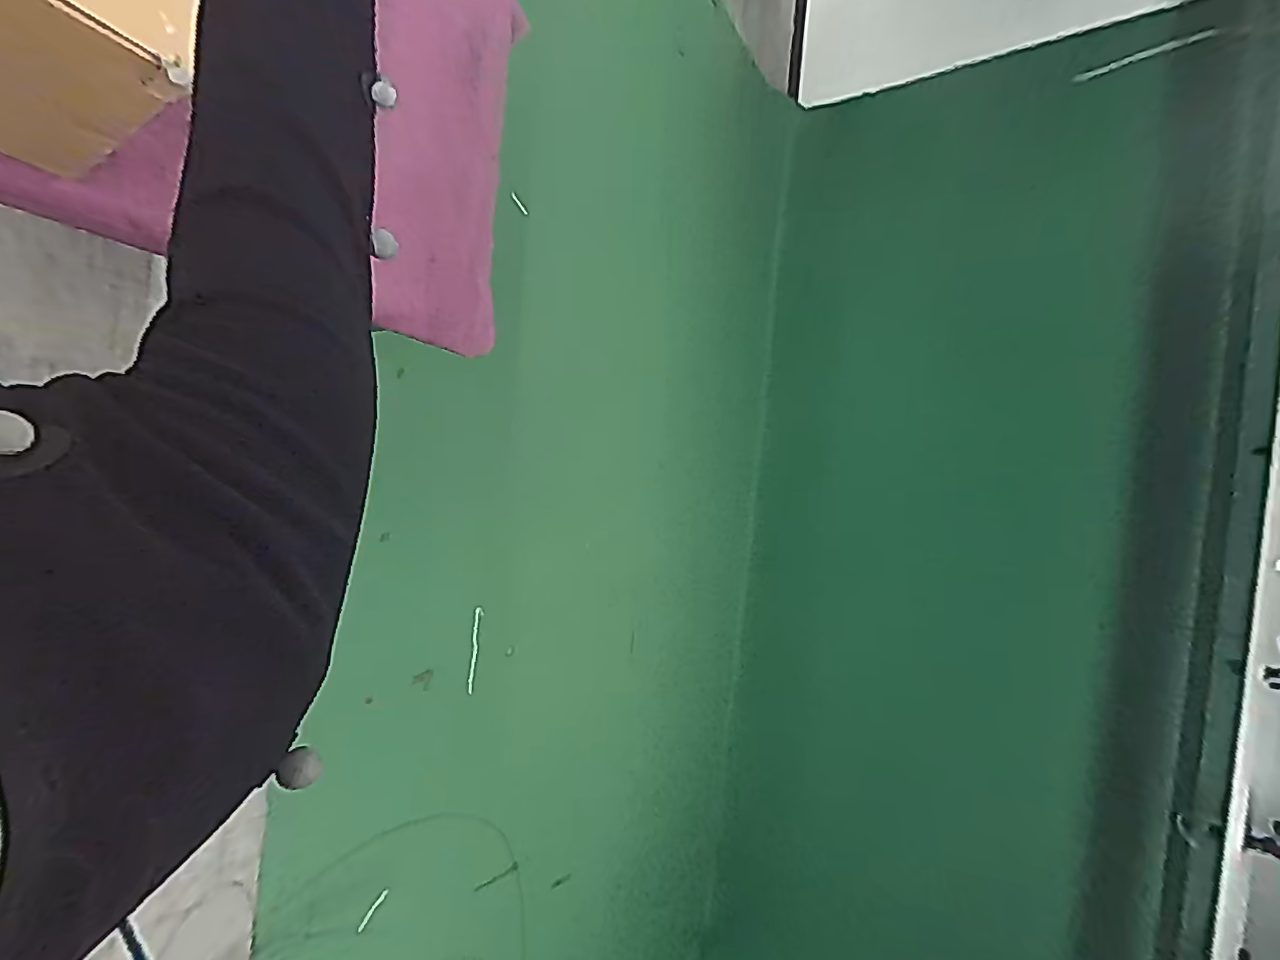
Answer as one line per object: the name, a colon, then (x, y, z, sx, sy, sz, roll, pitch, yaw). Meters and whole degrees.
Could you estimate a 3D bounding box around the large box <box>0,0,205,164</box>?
large box: (-0.509, -0.513, 0.351, 0.320, 0.320, 0.408, 11, 86, -57)
